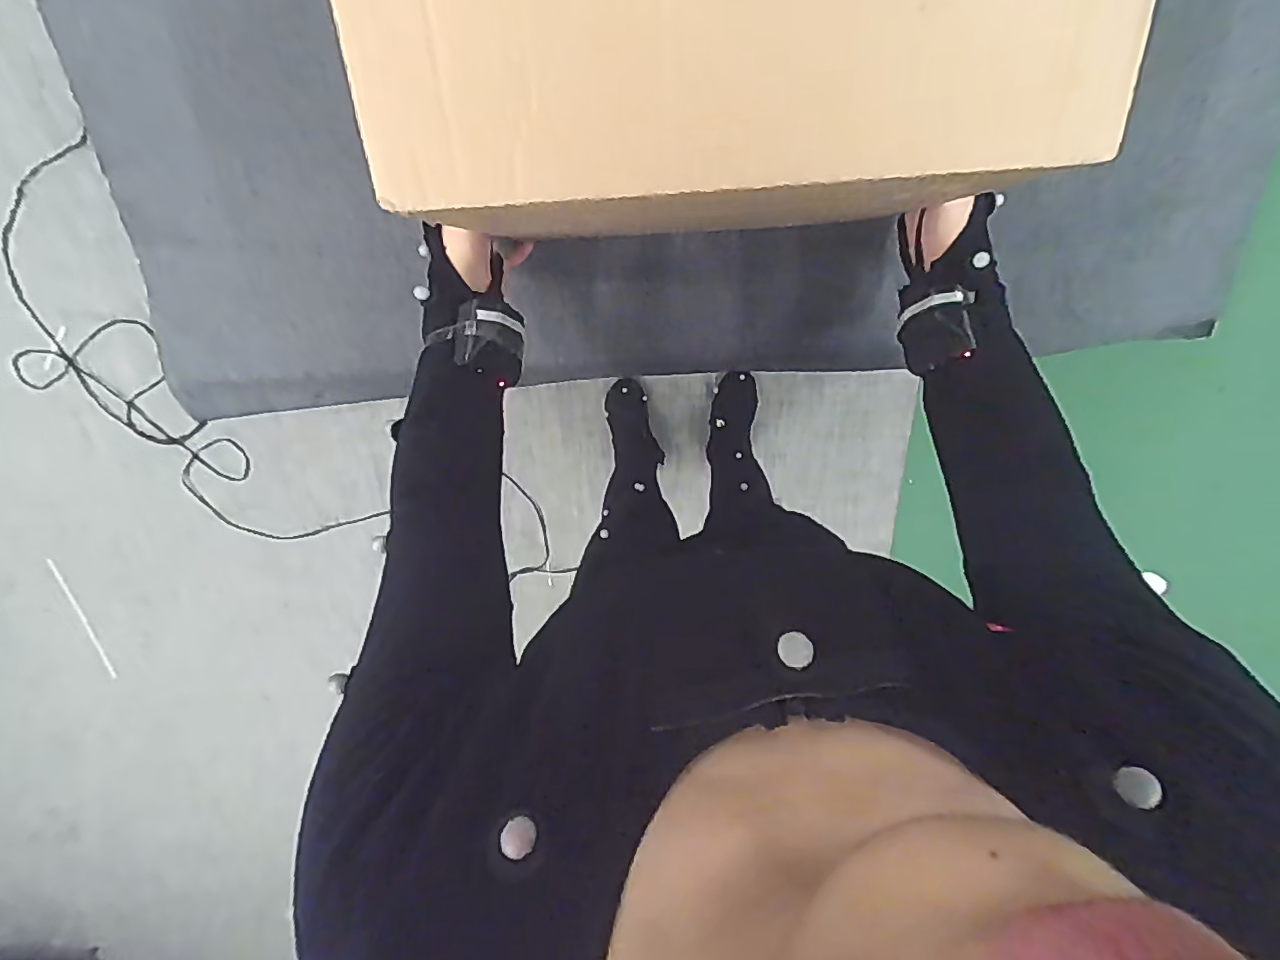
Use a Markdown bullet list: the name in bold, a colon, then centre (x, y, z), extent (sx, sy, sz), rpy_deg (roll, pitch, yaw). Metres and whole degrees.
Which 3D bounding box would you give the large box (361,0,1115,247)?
- **large box**: centre (0.046, -0.366, 0.403), extent (0.408, 0.320, 0.320), rpy_deg (-3, 111, 2)
